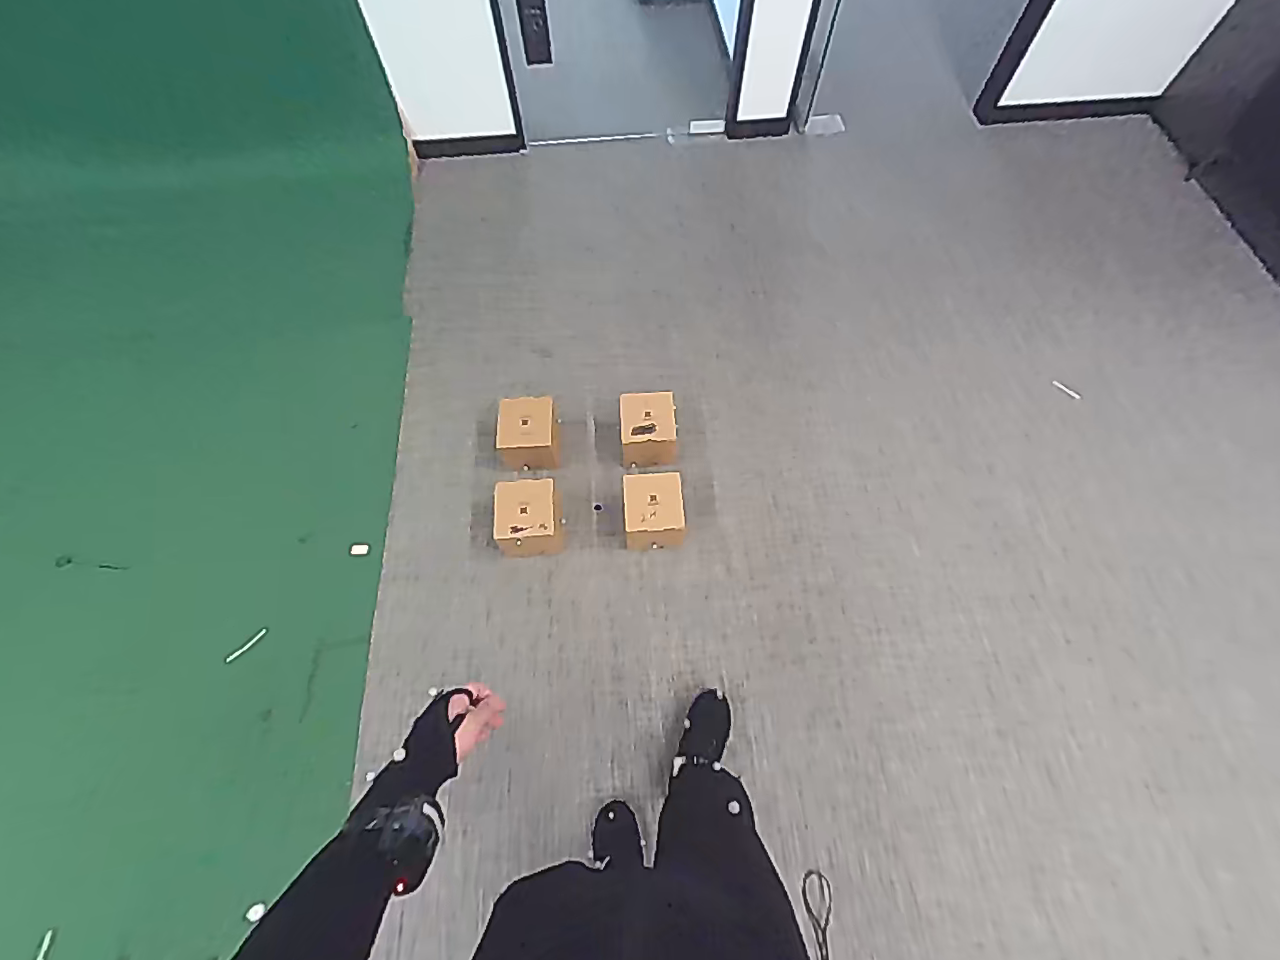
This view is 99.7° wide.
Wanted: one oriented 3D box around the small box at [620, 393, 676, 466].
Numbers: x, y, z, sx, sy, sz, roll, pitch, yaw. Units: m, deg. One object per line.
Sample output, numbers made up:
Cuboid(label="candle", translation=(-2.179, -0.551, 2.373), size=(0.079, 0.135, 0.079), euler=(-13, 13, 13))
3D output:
Cuboid(label="small box", translation=(0.025, -0.153, 1.710), size=(0.168, 0.176, 0.179), euler=(-3, 63, -1))

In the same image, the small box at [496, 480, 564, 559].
Cuboid(label="small box", translation=(-0.316, 0.118, 1.584), size=(0.168, 0.176, 0.179), euler=(-5, 63, -1))

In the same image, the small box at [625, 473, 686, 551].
Cuboid(label="small box", translation=(0.041, 0.096, 1.589), size=(0.168, 0.176, 0.179), euler=(-4, 64, 0))
